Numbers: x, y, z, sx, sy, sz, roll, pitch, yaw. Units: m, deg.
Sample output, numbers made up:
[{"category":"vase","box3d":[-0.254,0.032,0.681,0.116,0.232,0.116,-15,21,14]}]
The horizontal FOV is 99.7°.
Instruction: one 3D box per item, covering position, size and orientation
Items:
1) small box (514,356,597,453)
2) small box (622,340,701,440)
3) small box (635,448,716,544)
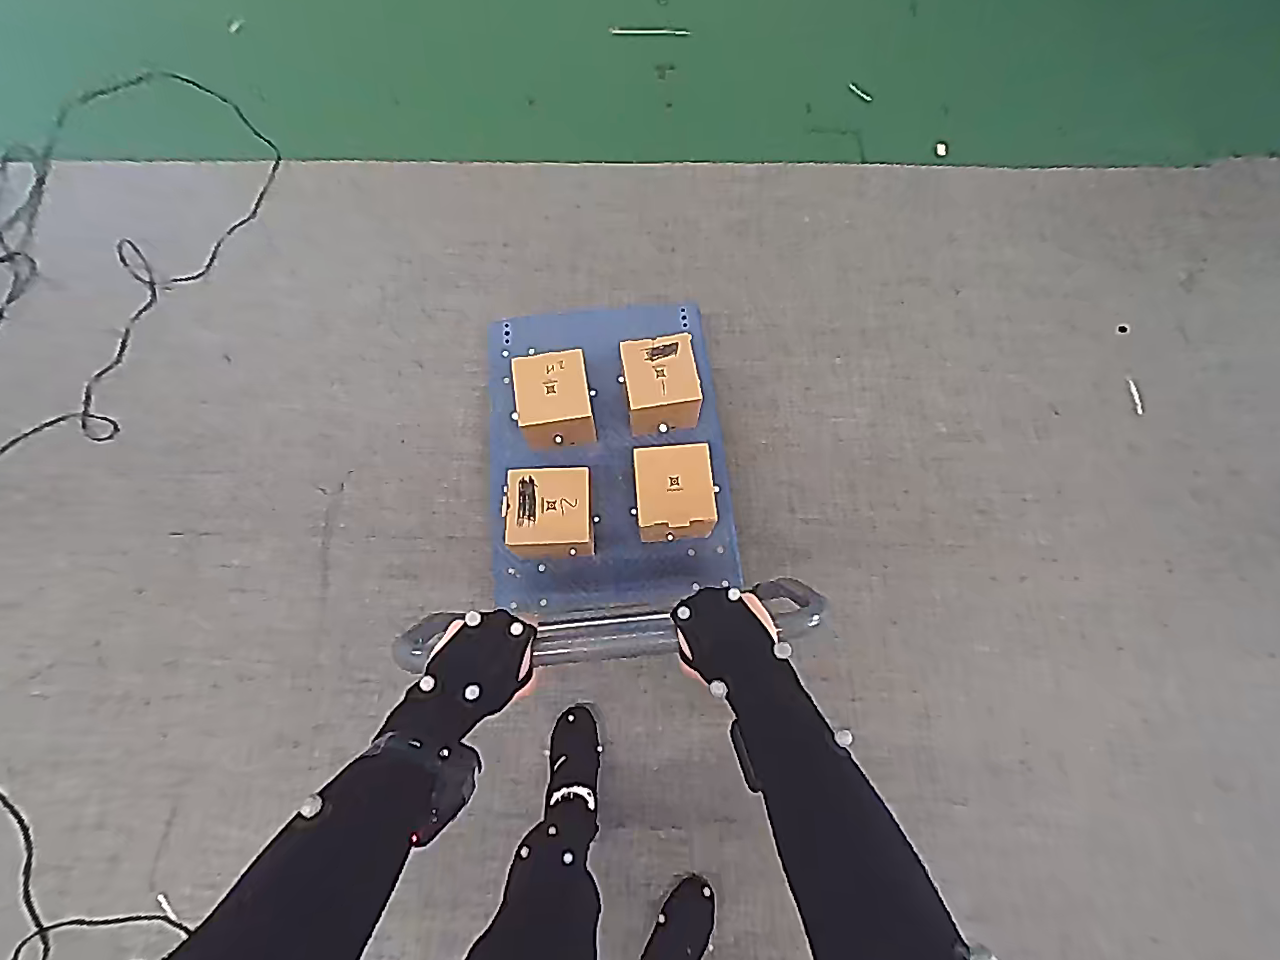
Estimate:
[{"category":"small box","box3d":[-0.201,-0.175,1.317,0.168,0.176,0.179,-9,72,-3]},{"category":"small box","box3d":[0.047,-0.216,1.329,0.168,0.176,0.179,-9,73,-2]},{"category":"small box","box3d":[0.075,0.040,1.248,0.168,0.176,0.179,-5,72,-1]}]
